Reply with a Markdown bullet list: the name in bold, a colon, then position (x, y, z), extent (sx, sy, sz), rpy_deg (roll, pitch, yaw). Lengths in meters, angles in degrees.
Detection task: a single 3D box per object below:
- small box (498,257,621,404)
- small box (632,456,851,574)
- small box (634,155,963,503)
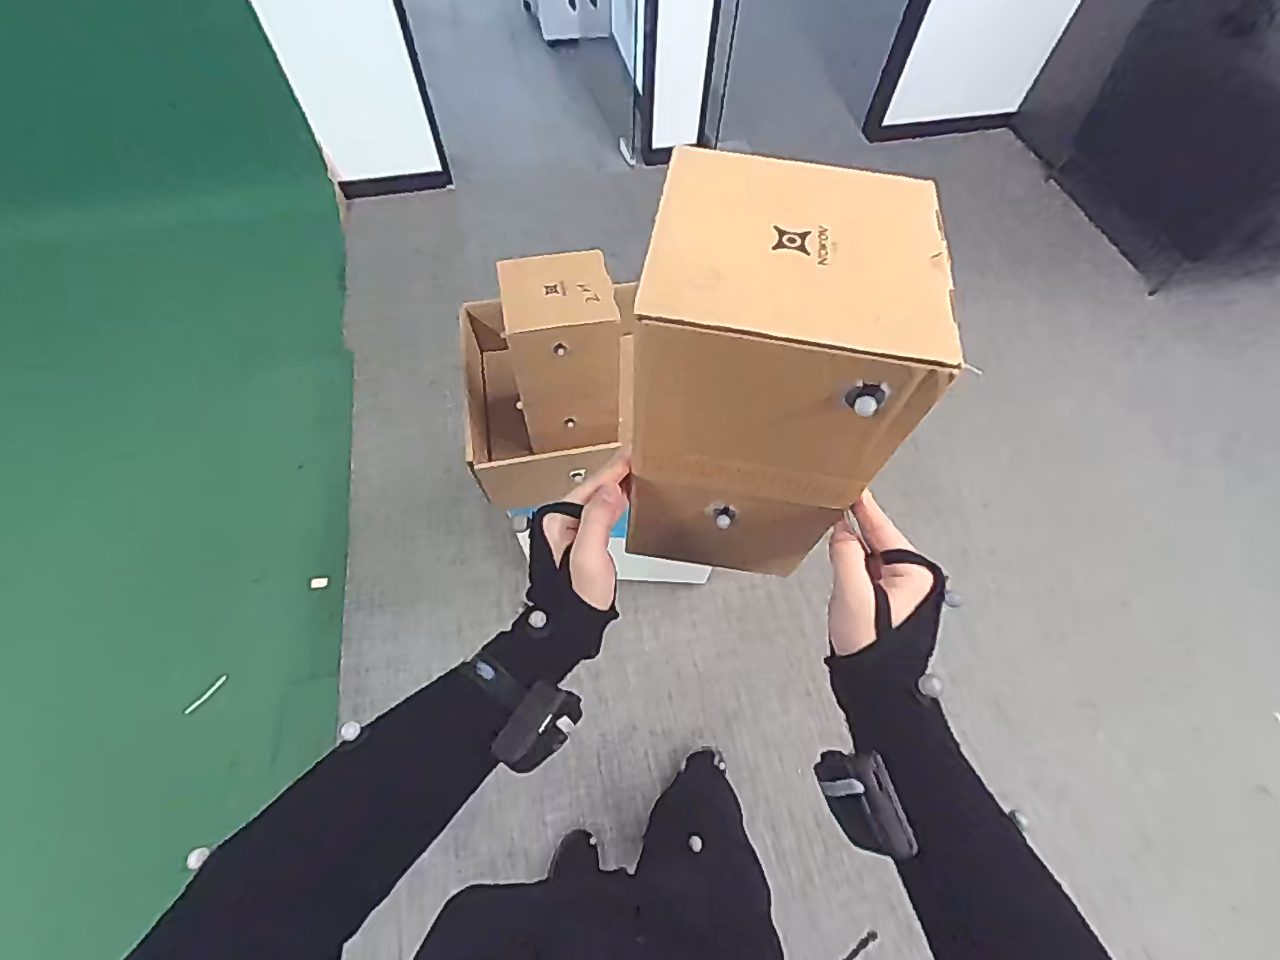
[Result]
- **small box**: position (-0.131, -0.245, 0.913), extent (0.179, 0.176, 0.168), rpy_deg (-9, 61, -8)
- **small box**: position (0.089, -0.019, 0.536), extent (0.179, 0.176, 0.168), rpy_deg (9, 59, 2)
- **small box**: position (0.094, -0.099, 0.395), extent (0.179, 0.176, 0.168), rpy_deg (10, 60, 2)
